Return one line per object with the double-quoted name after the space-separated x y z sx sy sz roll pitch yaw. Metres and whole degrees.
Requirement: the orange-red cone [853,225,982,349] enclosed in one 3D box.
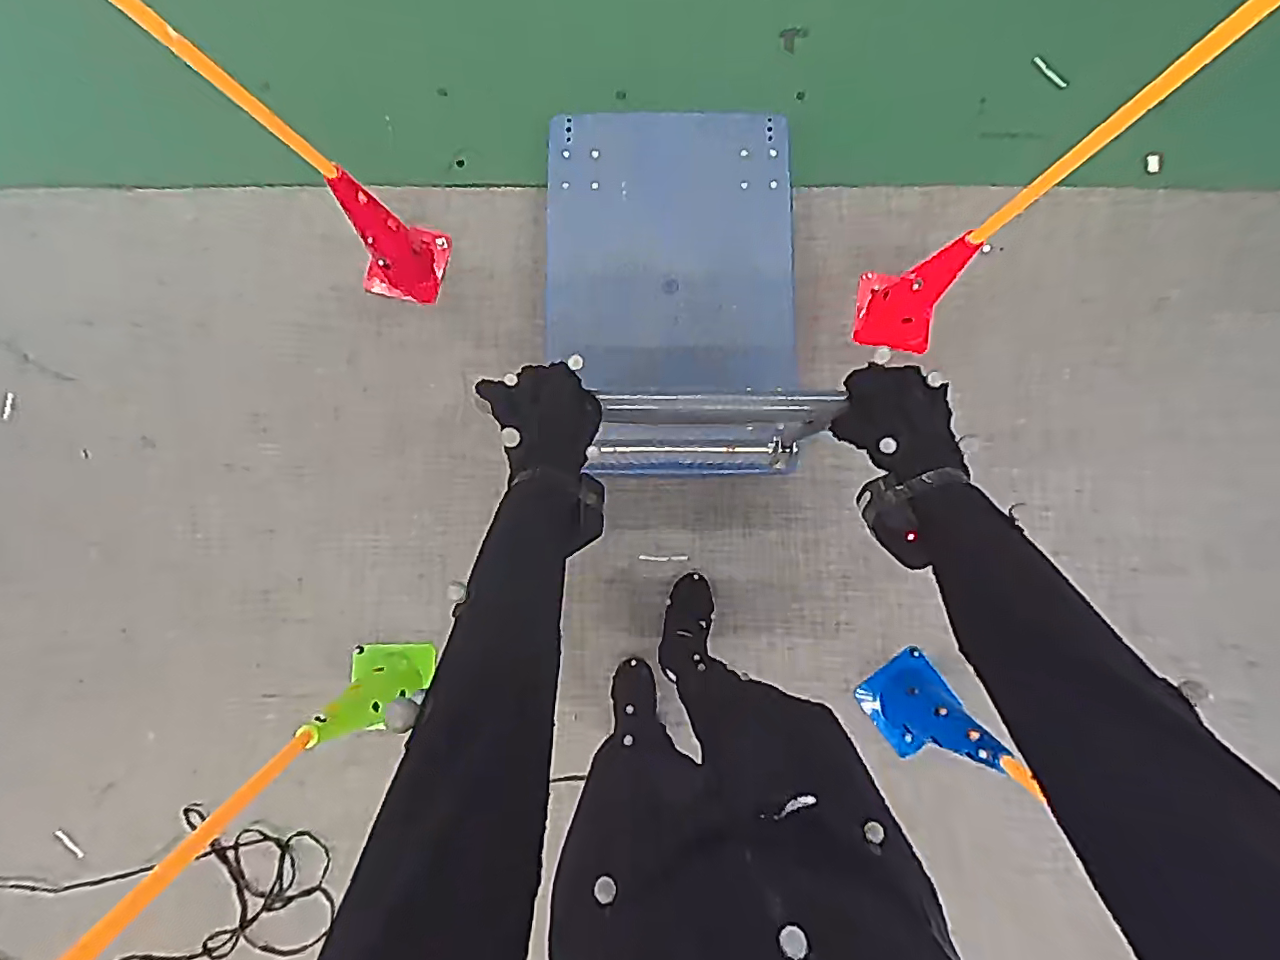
0.666 -0.468 1.247 0.198 0.360 0.199 11 84 2 "orange-red cone"
